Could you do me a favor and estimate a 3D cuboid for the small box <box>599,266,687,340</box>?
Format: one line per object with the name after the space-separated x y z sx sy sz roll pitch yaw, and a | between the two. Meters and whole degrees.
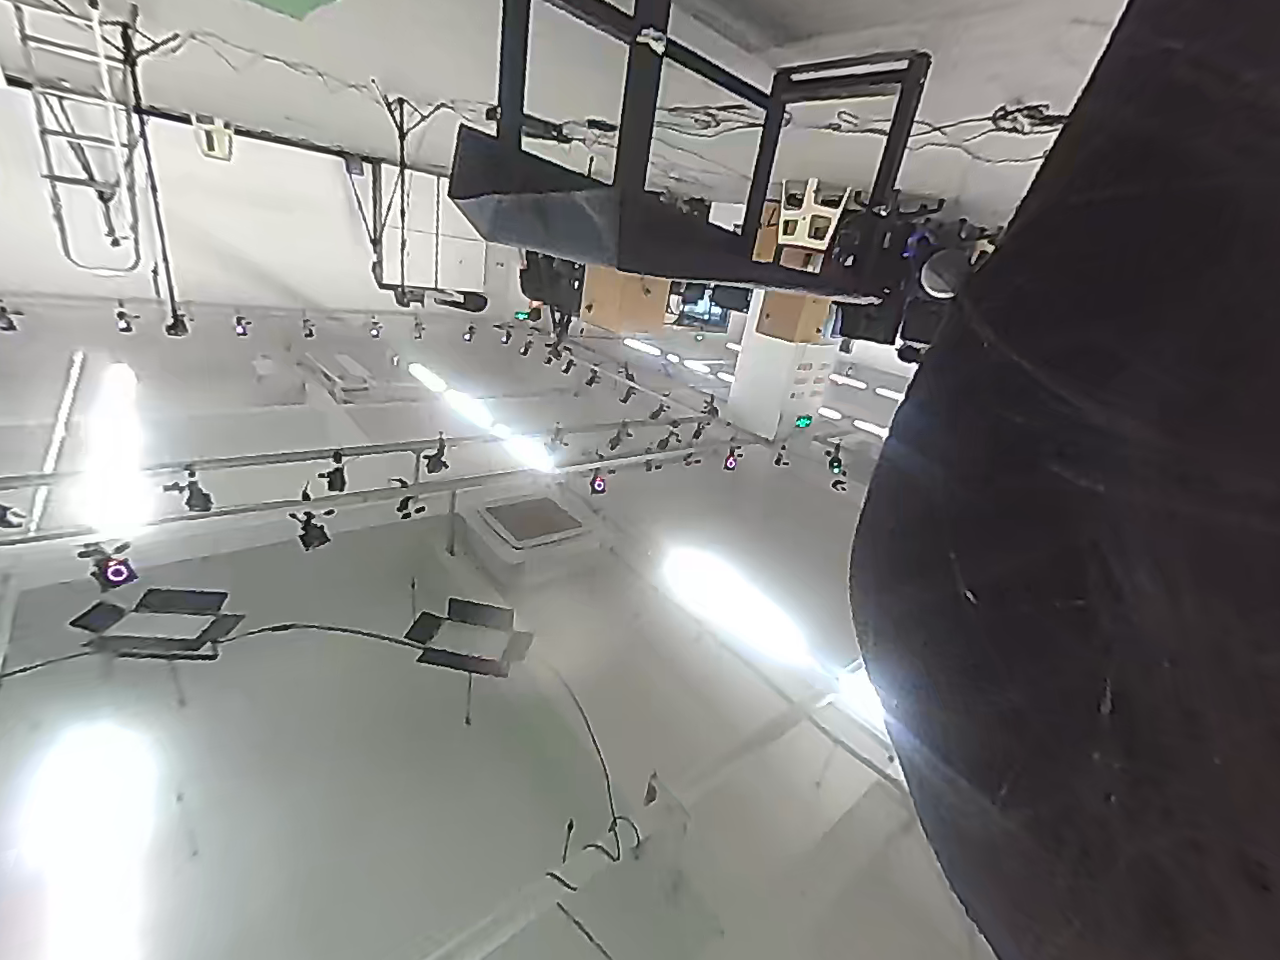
0.010 -0.497 1.509 0.168 0.176 0.179 -11 -149 -38 | small box
